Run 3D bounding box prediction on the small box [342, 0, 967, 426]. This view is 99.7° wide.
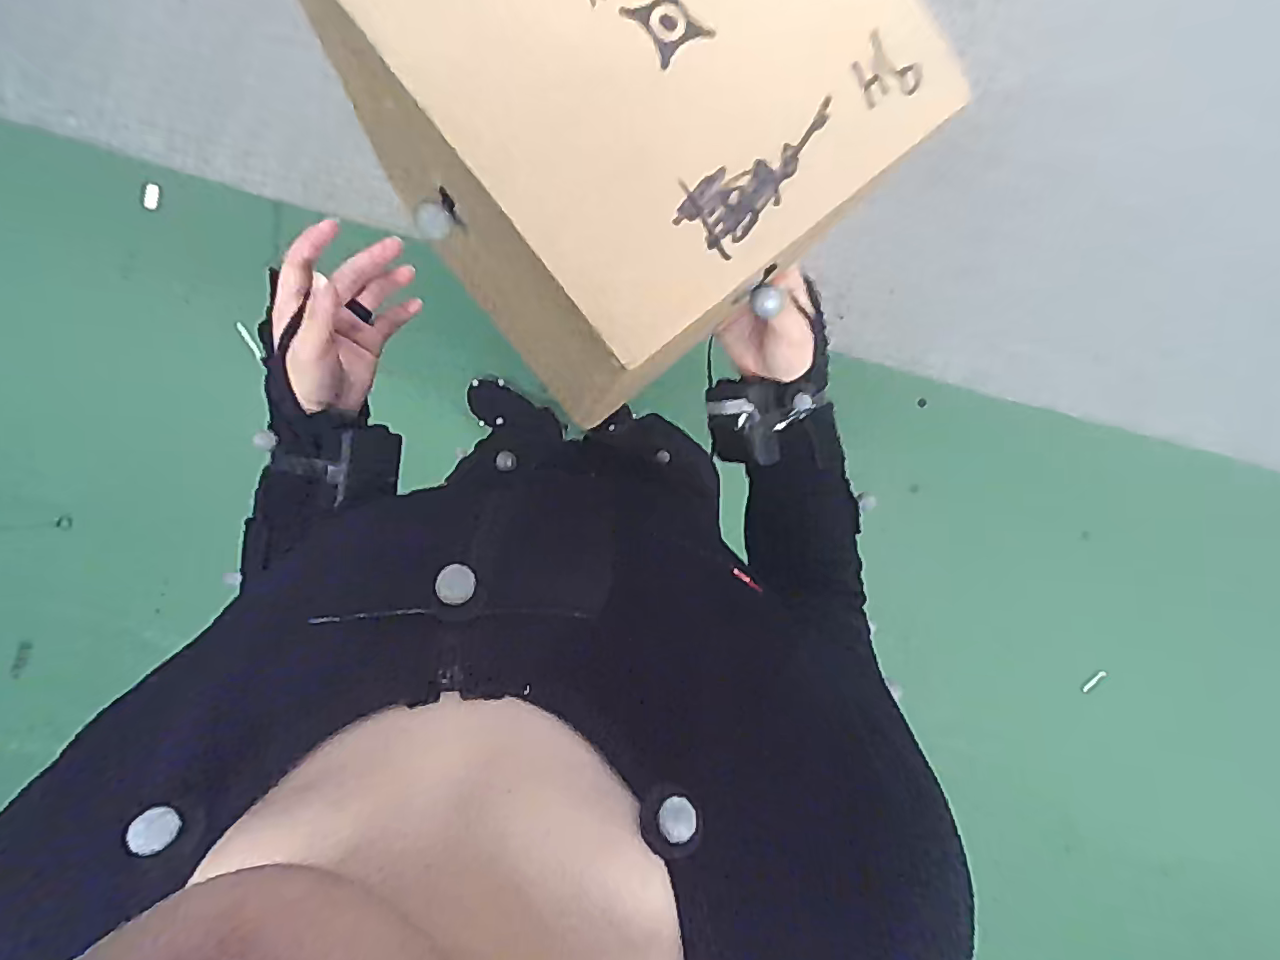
[{"bbox_3d":[-0.004,-0.147,0.264,0.168,0.176,0.179,-41,95,-9],"label":"small box"}]
